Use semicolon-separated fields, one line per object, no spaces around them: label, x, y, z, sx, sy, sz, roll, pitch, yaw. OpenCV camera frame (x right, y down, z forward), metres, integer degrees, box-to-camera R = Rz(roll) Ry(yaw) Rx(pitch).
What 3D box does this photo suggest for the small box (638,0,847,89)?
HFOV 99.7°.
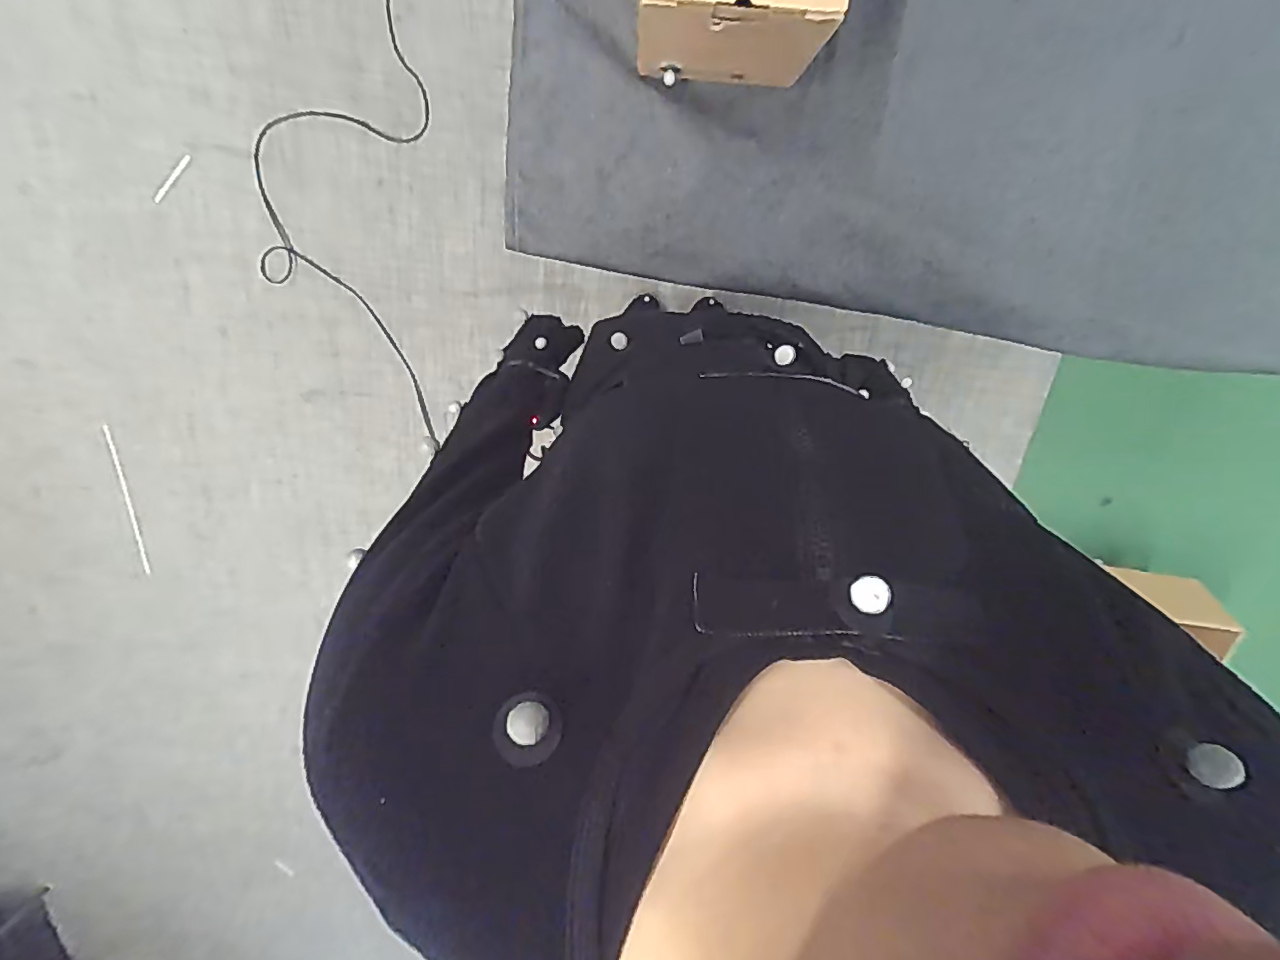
small box;0.087;-0.470;0.470;0.168;0.176;0.179;4;109;-1
